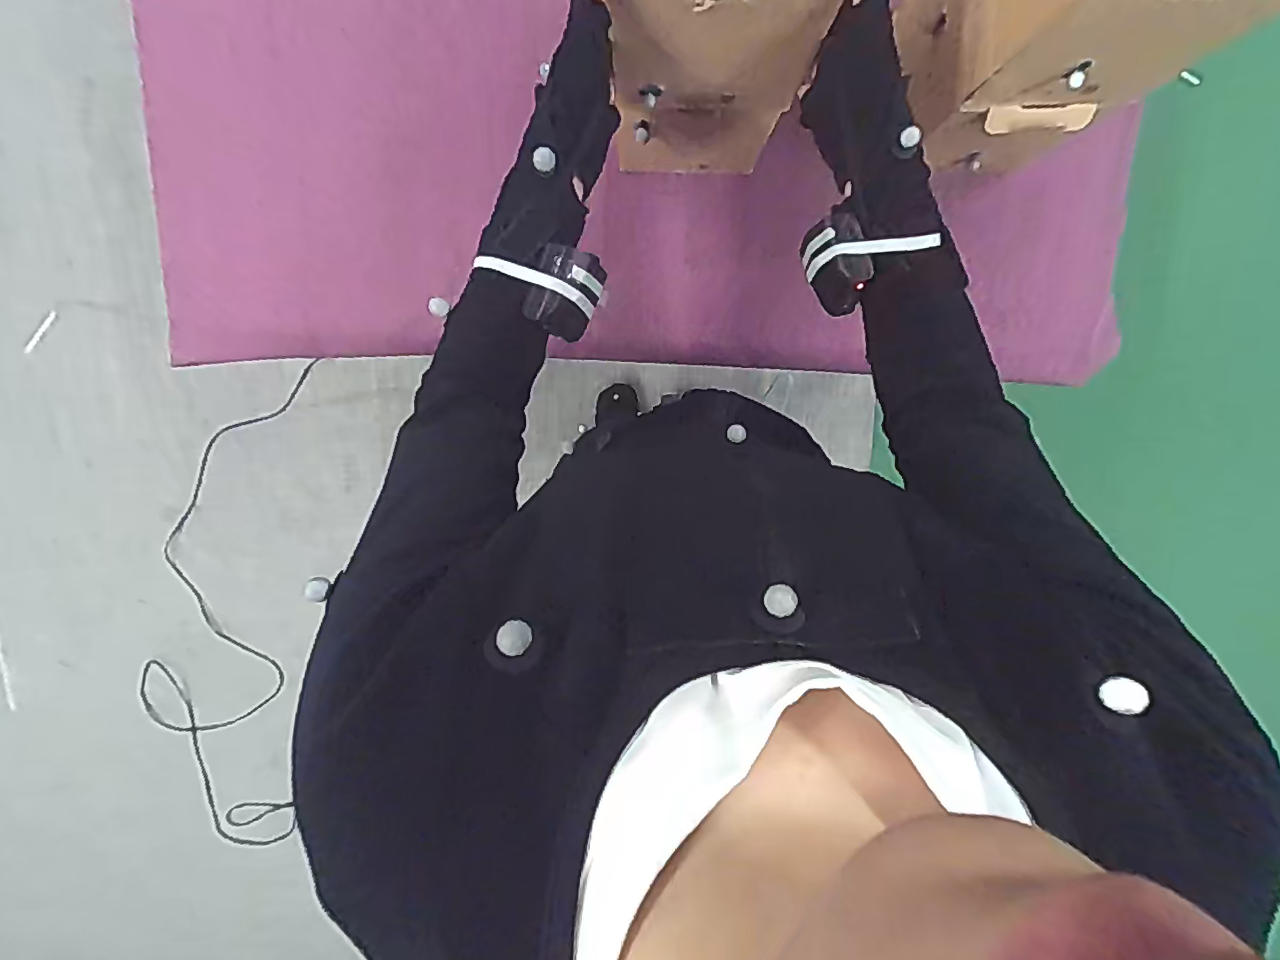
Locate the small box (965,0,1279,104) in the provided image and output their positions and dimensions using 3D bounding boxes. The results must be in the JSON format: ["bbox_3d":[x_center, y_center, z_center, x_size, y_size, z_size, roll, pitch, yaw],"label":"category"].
[{"bbox_3d":[0.383,-0.429,0.417,0.168,0.176,0.179,-1,101,0],"label":"small box"}]

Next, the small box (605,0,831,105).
[{"bbox_3d":[0.060,-0.422,0.416,0.168,0.176,0.179,1,98,0],"label":"small box"}]

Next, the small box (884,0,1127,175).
[{"bbox_3d":[0.379,-0.454,0.579,0.168,0.176,0.179,-2,100,1],"label":"small box"}]
